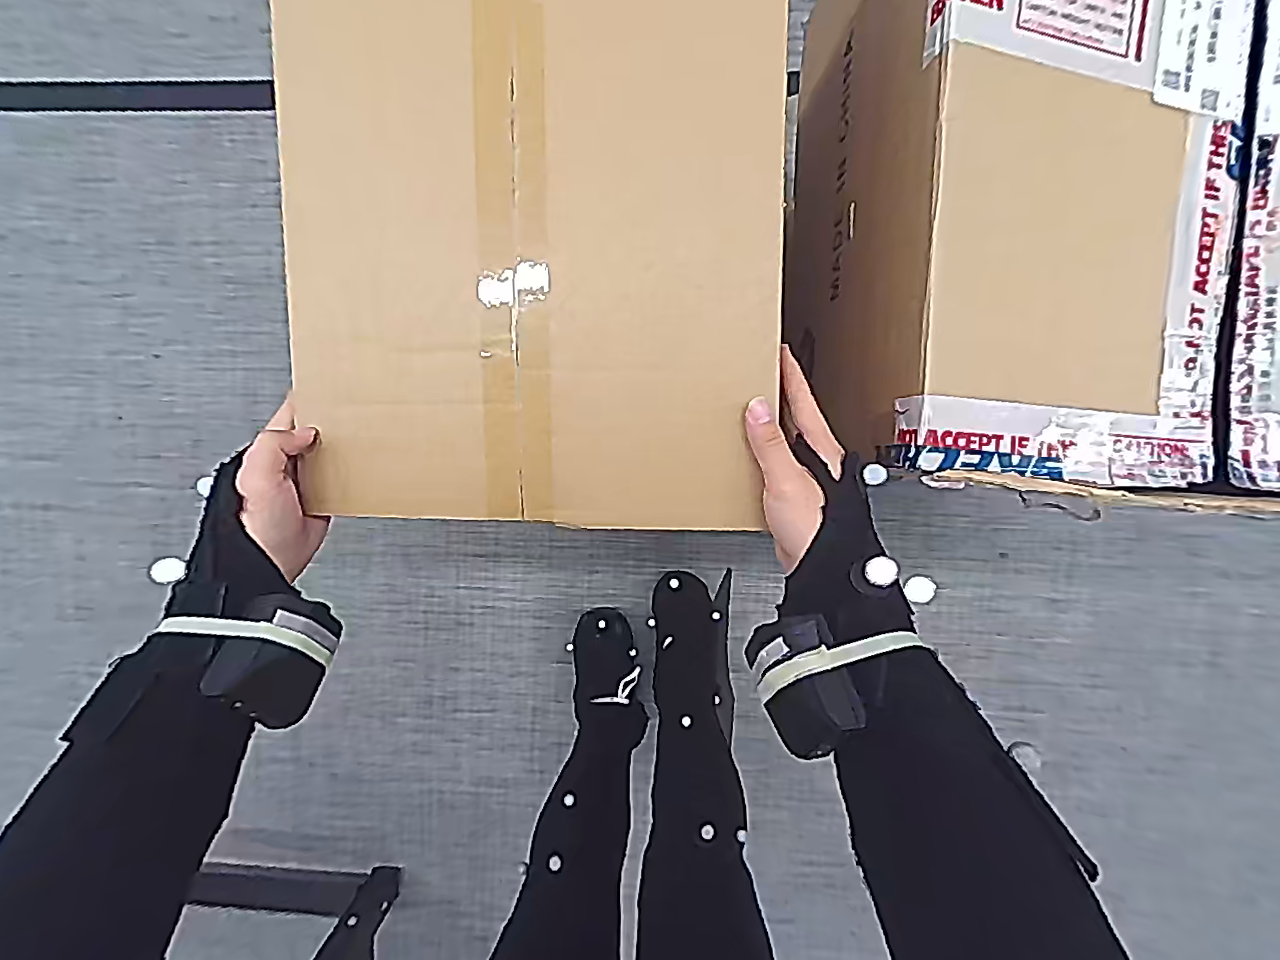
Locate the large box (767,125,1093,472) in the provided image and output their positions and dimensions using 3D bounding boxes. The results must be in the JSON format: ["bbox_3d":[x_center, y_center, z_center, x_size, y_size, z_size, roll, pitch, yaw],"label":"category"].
[{"bbox_3d":[0.370,-0.224,0.785,0.320,0.320,0.408,1,95,2],"label":"large box"}]
